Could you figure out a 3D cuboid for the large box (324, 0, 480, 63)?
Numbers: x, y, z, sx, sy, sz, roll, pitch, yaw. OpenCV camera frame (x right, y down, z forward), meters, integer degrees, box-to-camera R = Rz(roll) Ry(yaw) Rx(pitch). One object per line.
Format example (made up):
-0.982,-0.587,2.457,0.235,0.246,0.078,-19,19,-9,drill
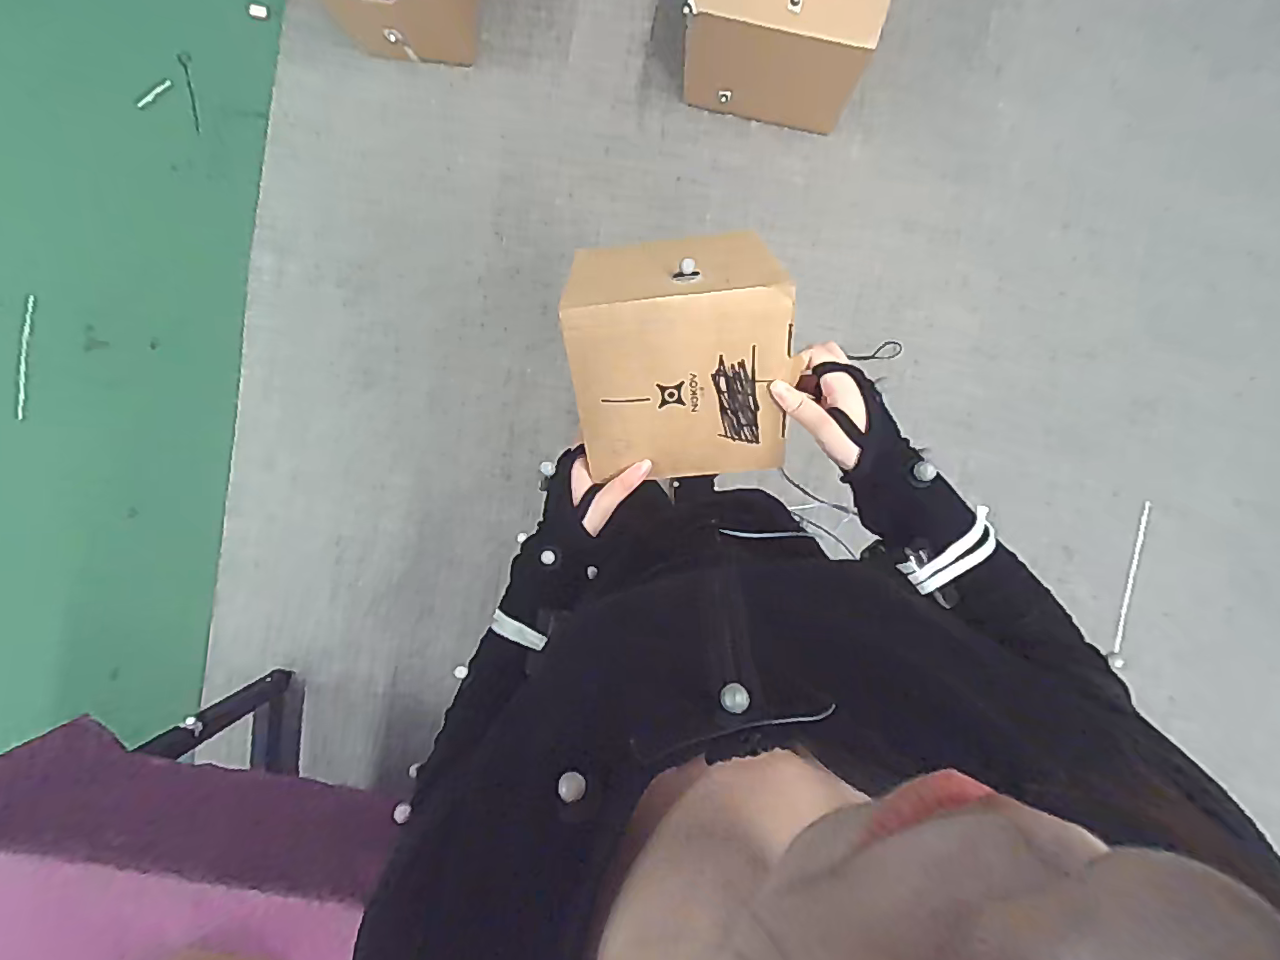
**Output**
-0.584,-1.323,1.307,0.320,0.320,0.408,8,92,3,large box
